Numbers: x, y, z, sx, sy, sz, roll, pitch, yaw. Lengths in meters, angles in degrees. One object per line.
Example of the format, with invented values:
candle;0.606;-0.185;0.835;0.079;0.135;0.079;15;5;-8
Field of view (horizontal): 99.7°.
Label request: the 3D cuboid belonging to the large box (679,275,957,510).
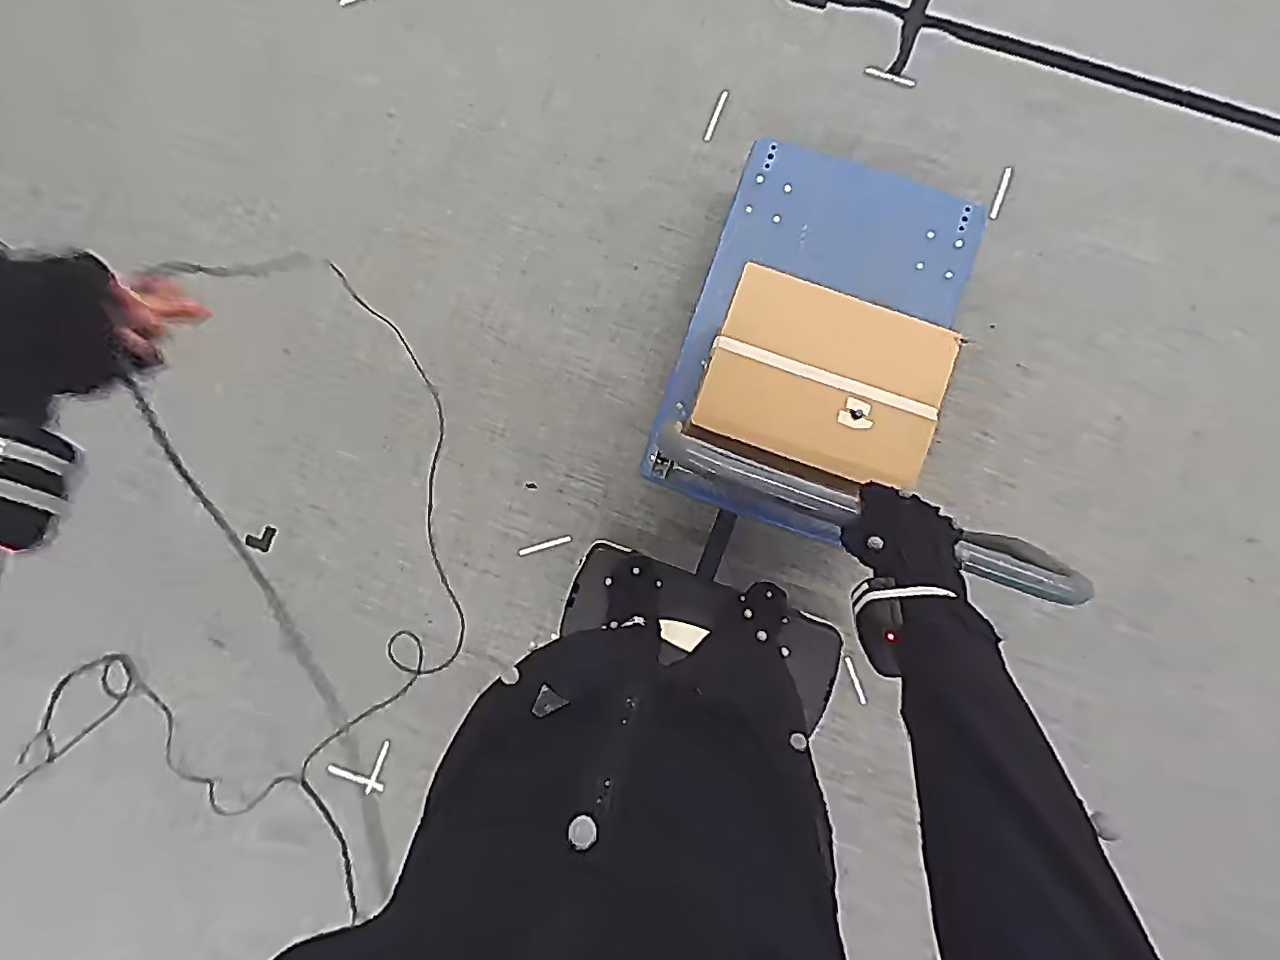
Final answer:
large box;0.321;-0.149;1.090;0.408;0.320;0.320;20;86;2
